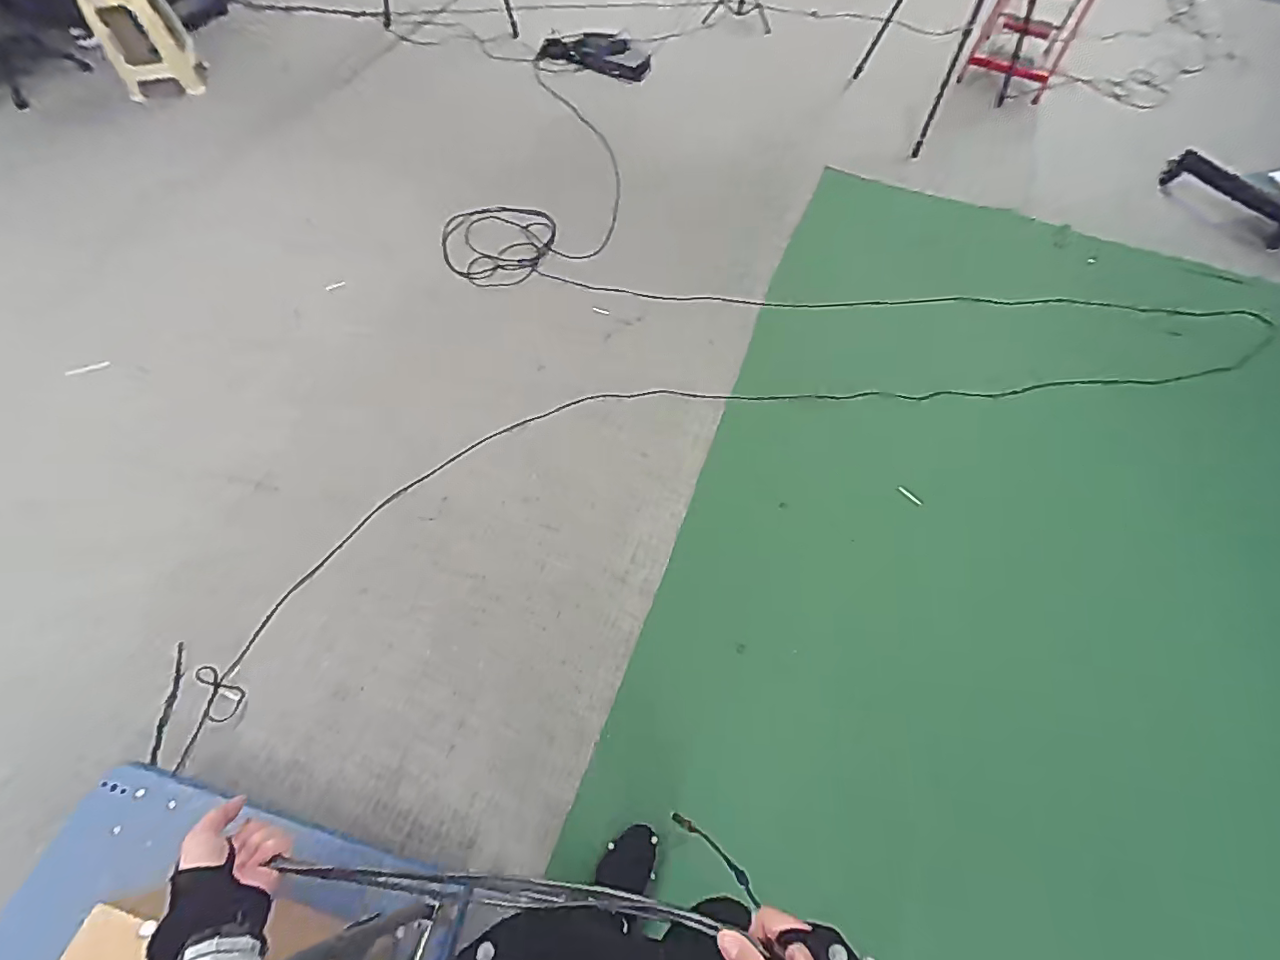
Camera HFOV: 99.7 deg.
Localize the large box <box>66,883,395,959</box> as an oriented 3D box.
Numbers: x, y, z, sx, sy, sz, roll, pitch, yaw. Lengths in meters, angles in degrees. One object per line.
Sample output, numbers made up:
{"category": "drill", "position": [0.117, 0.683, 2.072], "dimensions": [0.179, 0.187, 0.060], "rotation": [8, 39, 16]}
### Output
{"category": "large box", "position": [-0.699, 0.918, 0.881], "dimensions": [0.408, 0.320, 0.320], "rotation": [14, 60, 7]}
